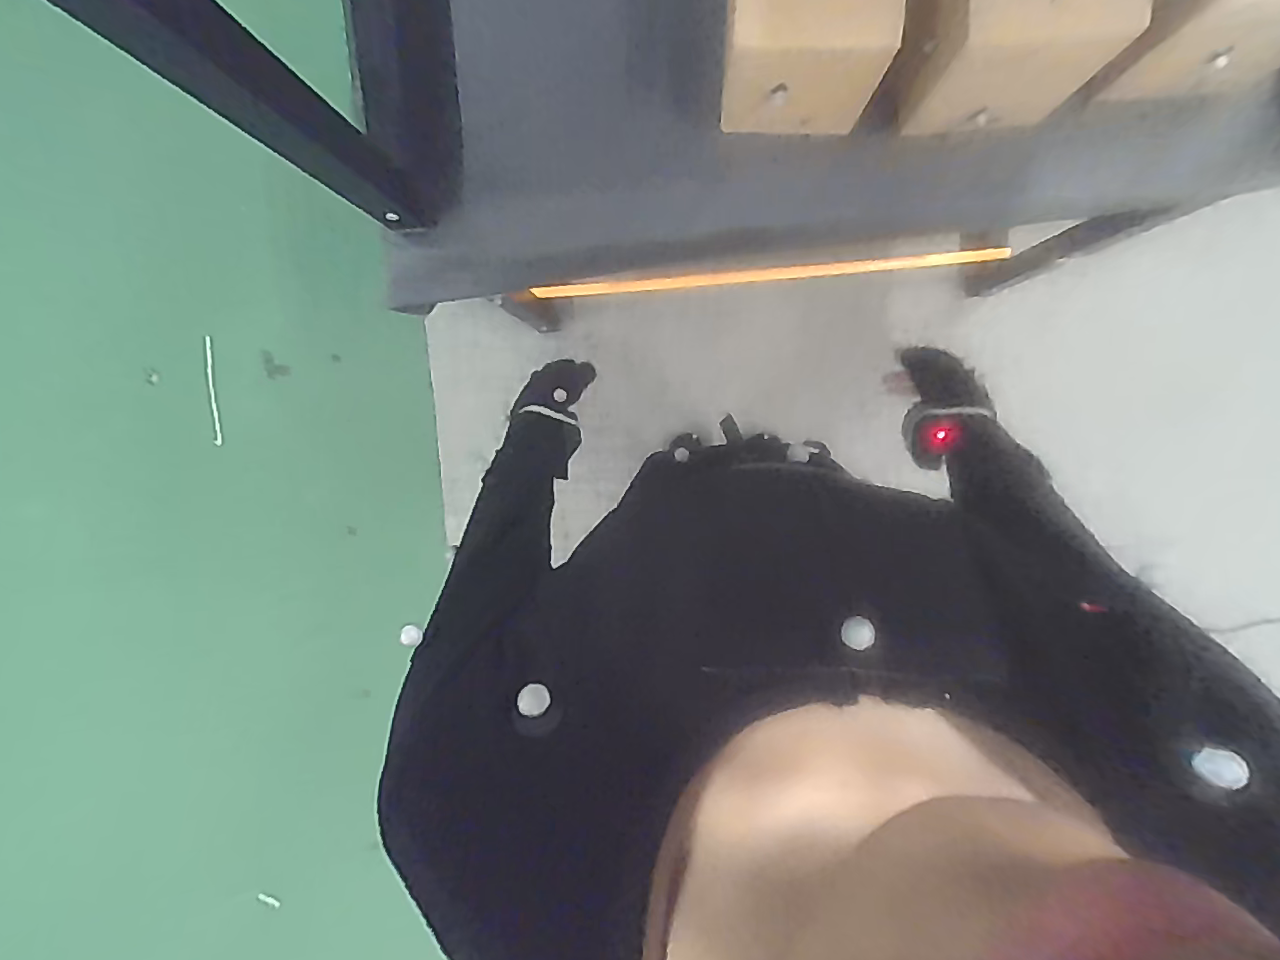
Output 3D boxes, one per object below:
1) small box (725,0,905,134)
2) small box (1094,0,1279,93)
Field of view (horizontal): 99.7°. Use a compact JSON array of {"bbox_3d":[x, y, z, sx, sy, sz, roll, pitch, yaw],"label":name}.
[{"bbox_3d":[0.188,-0.521,0.610,0.168,0.176,0.179,3,96,4],"label":"small box"},{"bbox_3d":[0.626,-0.541,0.568,0.168,0.176,0.179,0,95,4],"label":"small box"}]
